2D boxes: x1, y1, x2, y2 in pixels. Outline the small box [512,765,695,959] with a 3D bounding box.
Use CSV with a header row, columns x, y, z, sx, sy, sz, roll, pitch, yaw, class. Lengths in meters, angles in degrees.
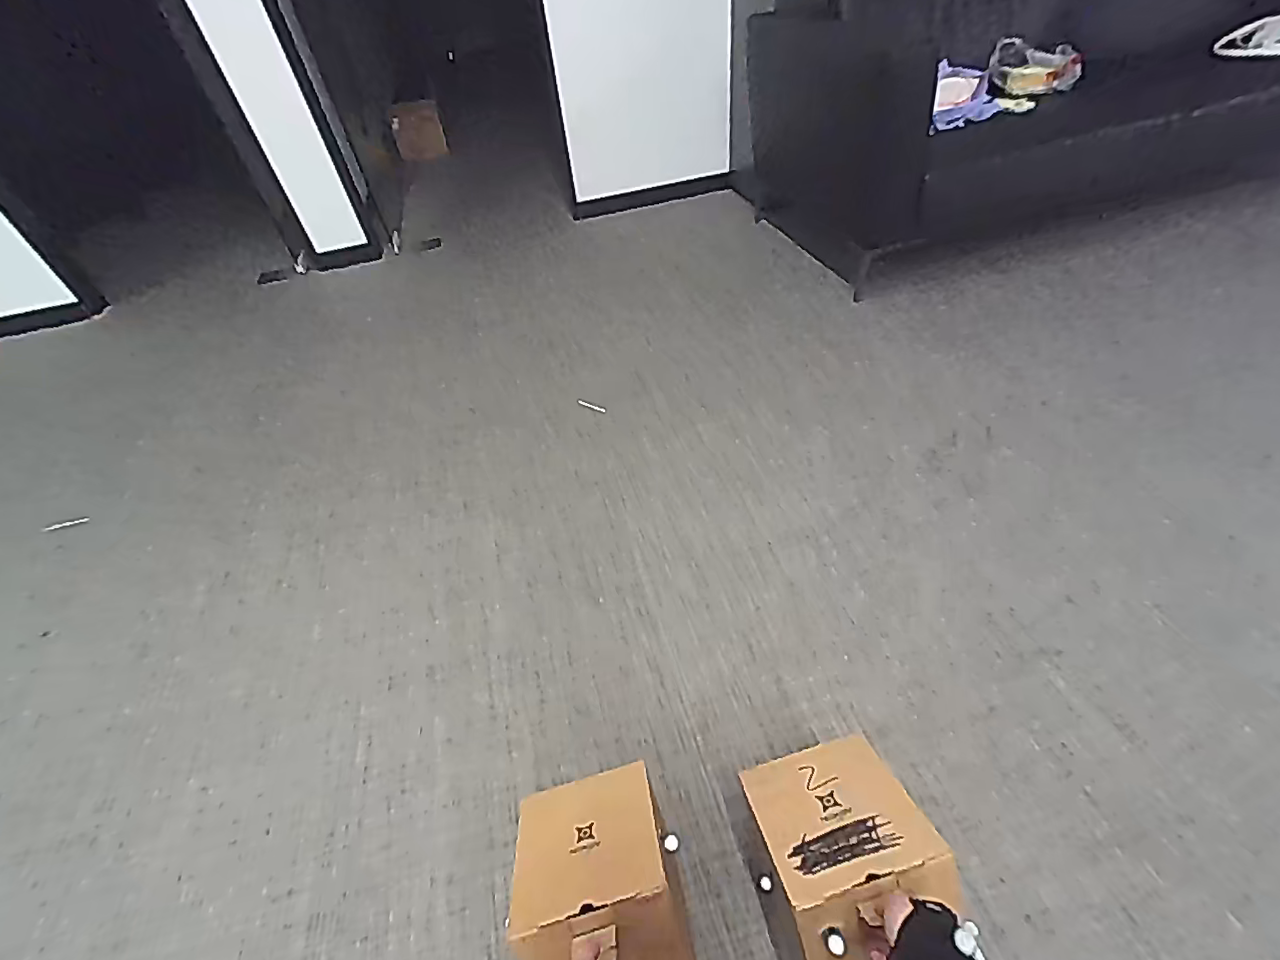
x,y,z,sx,sy,sz,roll,pitch,yaw,class
-0.040,0.491,0.646,0.168,0.176,0.179,-16,15,-3,small box
